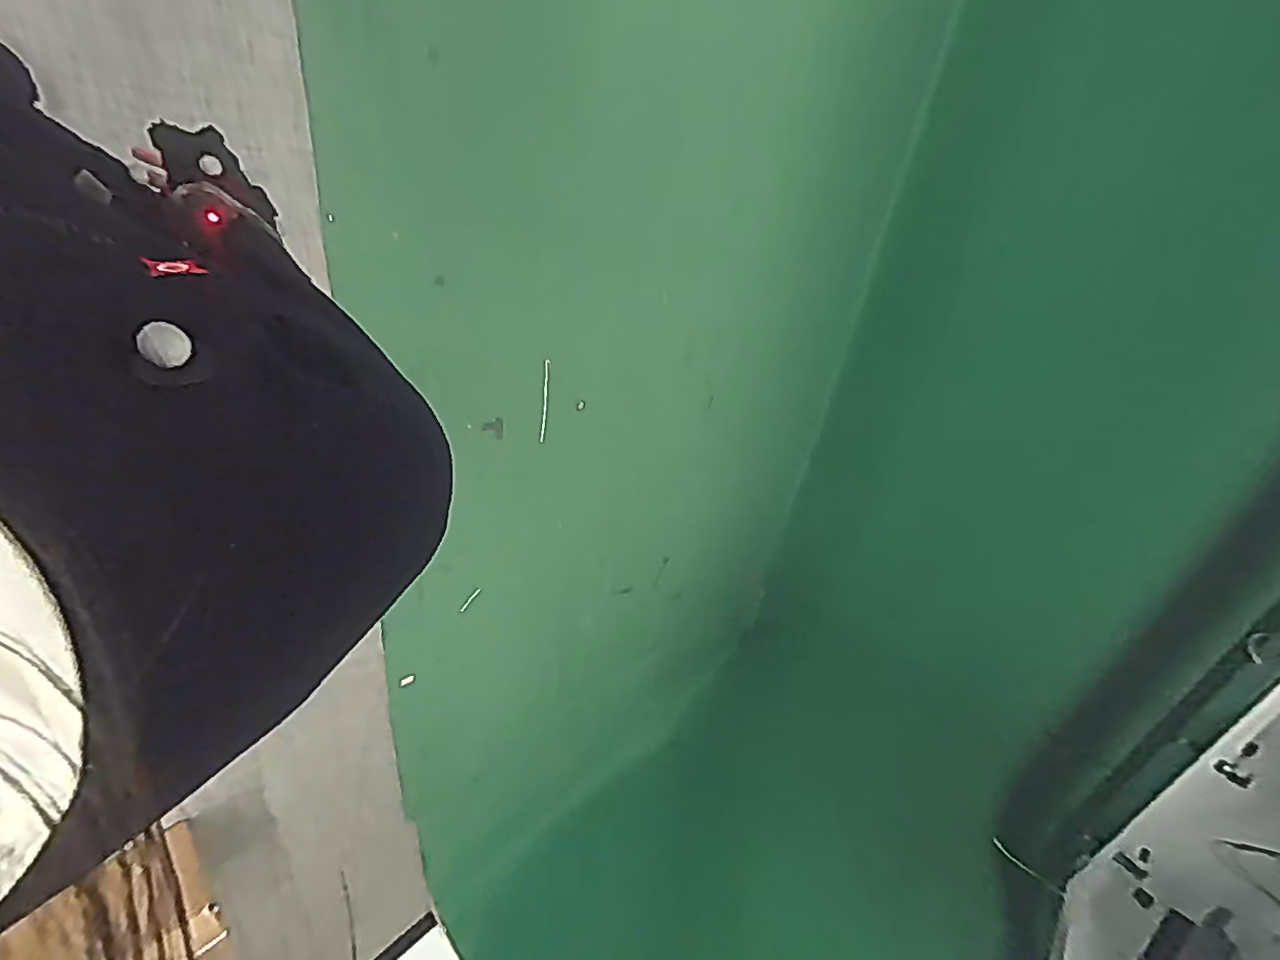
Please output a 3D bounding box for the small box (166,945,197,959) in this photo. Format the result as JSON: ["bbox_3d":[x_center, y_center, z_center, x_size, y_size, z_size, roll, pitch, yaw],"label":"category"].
[{"bbox_3d":[-1.236,1.379,1.394,0.179,0.176,0.168,-16,124,-46],"label":"small box"}]
